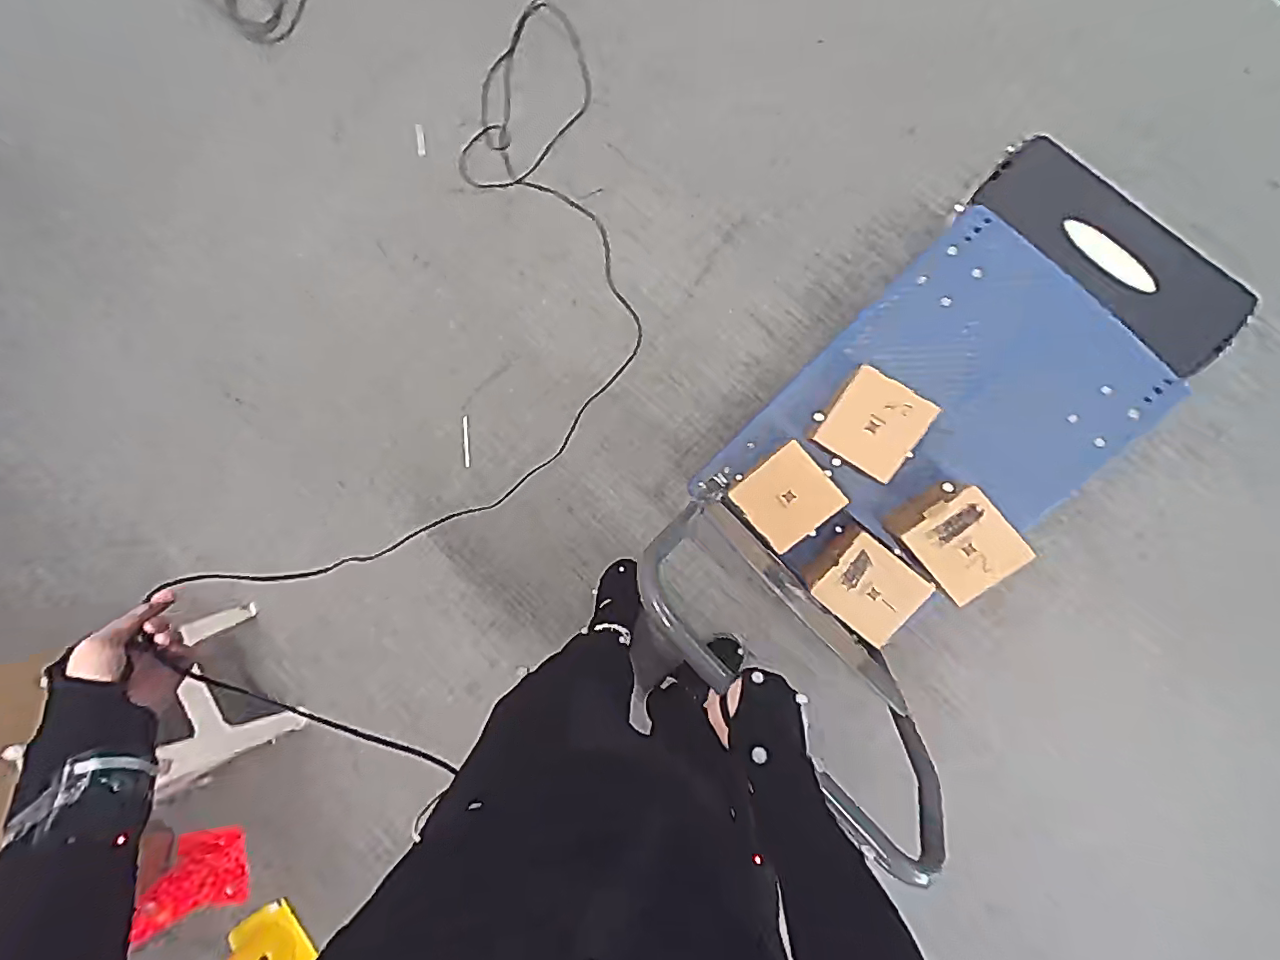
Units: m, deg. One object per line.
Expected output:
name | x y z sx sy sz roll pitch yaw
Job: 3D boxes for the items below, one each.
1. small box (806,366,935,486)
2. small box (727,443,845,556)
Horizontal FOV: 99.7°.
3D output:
small box | 0.459 -0.109 1.114 0.168 0.176 0.179 34 99 6
small box | 0.303 0.033 1.157 0.179 0.176 0.168 -41 86 12
